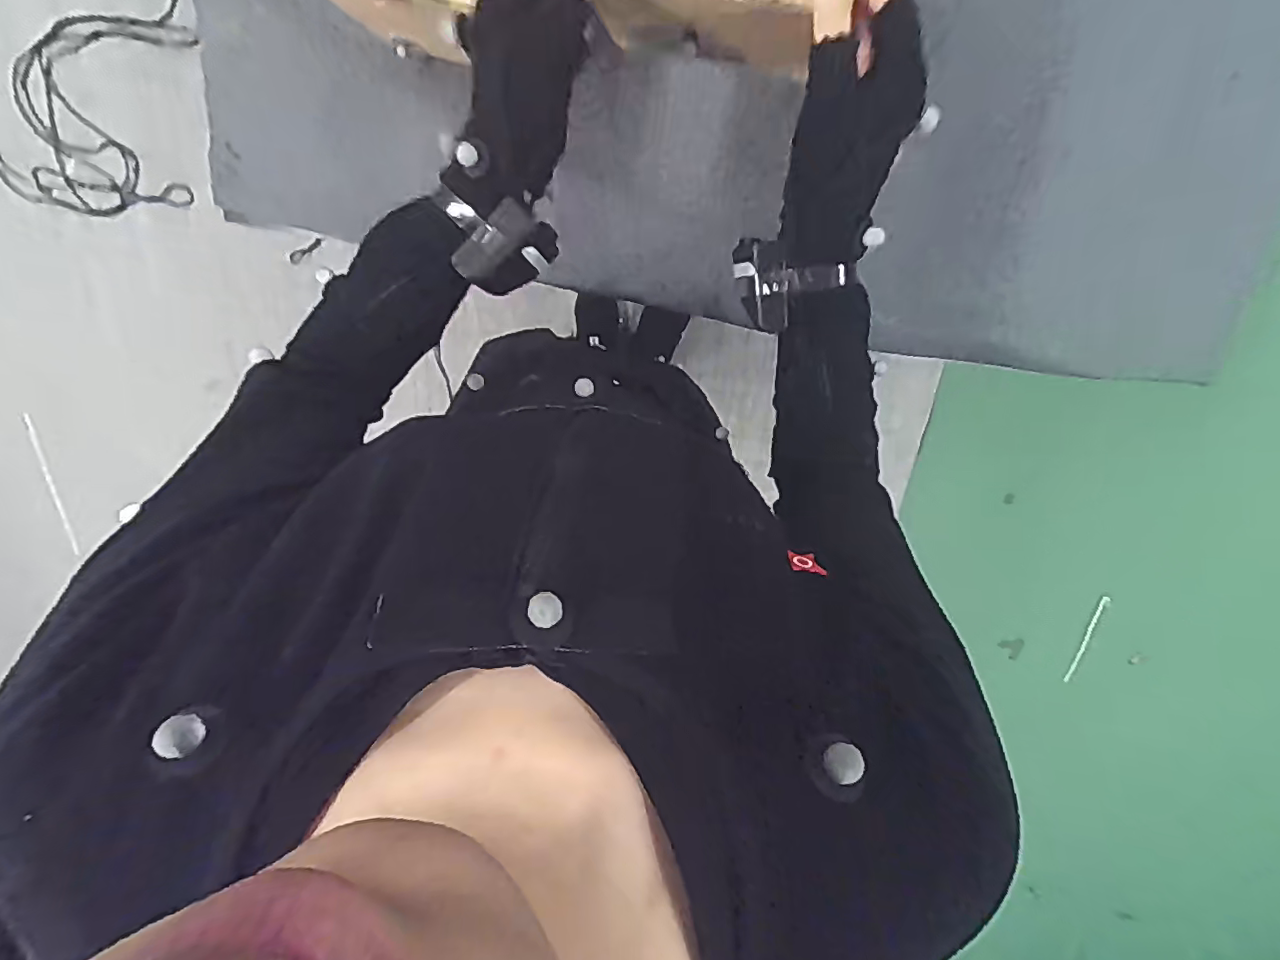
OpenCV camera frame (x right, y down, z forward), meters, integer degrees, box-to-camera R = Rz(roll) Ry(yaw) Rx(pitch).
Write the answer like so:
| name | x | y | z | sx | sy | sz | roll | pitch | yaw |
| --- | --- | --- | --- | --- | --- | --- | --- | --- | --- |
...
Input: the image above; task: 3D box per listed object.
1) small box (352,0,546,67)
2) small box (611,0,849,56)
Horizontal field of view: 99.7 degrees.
| name | x | y | z | sx | sy | sz | roll | pitch | yaw |
| --- | --- | --- | --- | --- | --- | --- | --- | --- | --- |
| small box | -0.174 | -0.500 | 0.470 | 0.168 | 0.176 | 0.179 | 13 | 111 | -2 |
| small box | 0.060 | -0.392 | 0.326 | 0.168 | 0.176 | 0.179 | 11 | 120 | 3 |
